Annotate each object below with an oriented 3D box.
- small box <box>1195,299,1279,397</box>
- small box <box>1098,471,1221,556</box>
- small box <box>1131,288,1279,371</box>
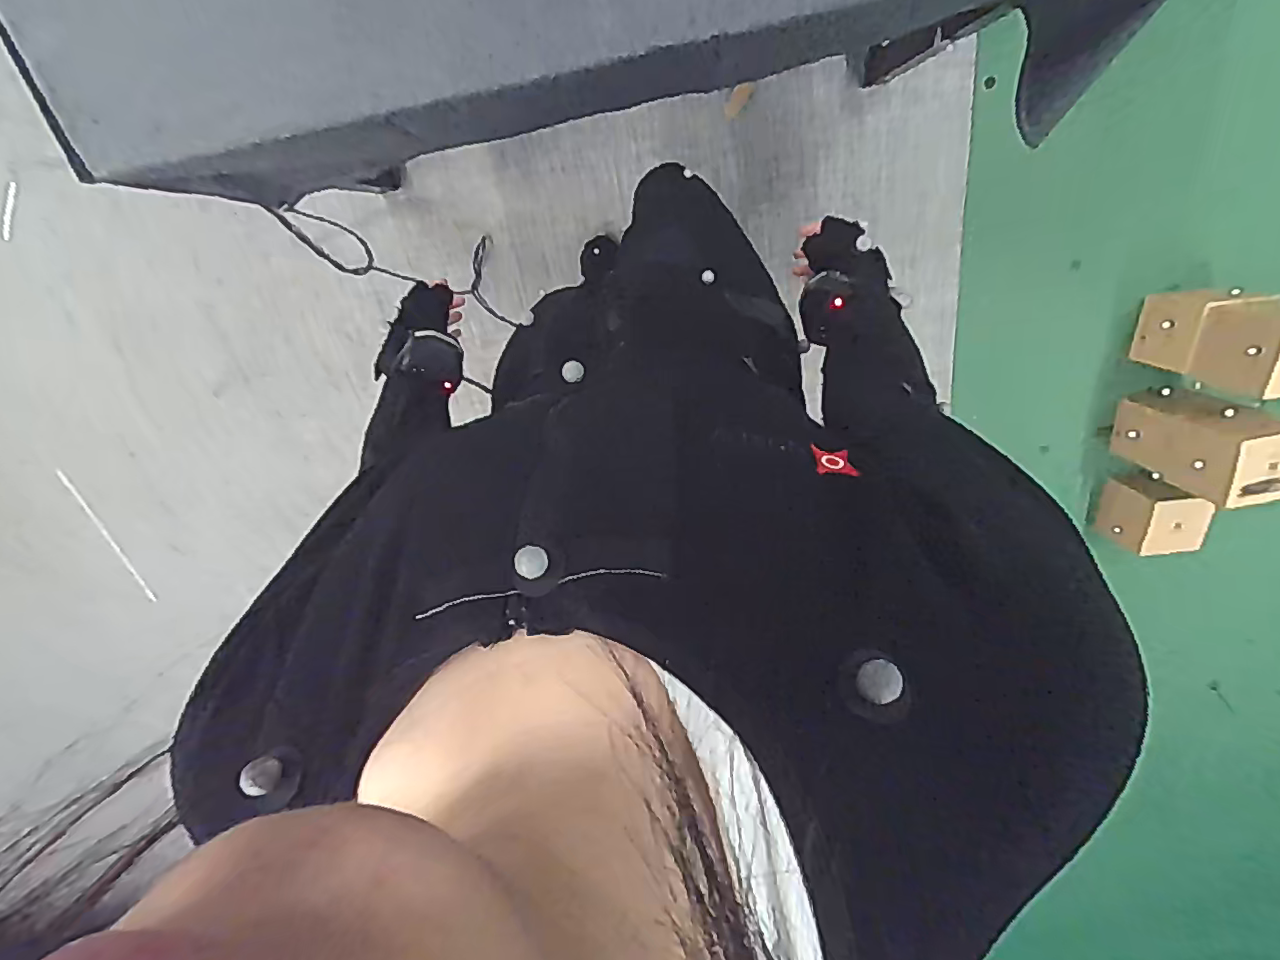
[{"bbox_3d":[1.376,-0.292,1.169,0.168,0.176,0.179,-6,115,2],"label":"small box"},{"bbox_3d":[1.455,0.091,1.532,0.168,0.176,0.179,-6,115,2],"label":"small box"},{"bbox_3d":[1.363,-0.369,1.316,0.179,0.176,0.168,-5,115,2],"label":"small box"}]
